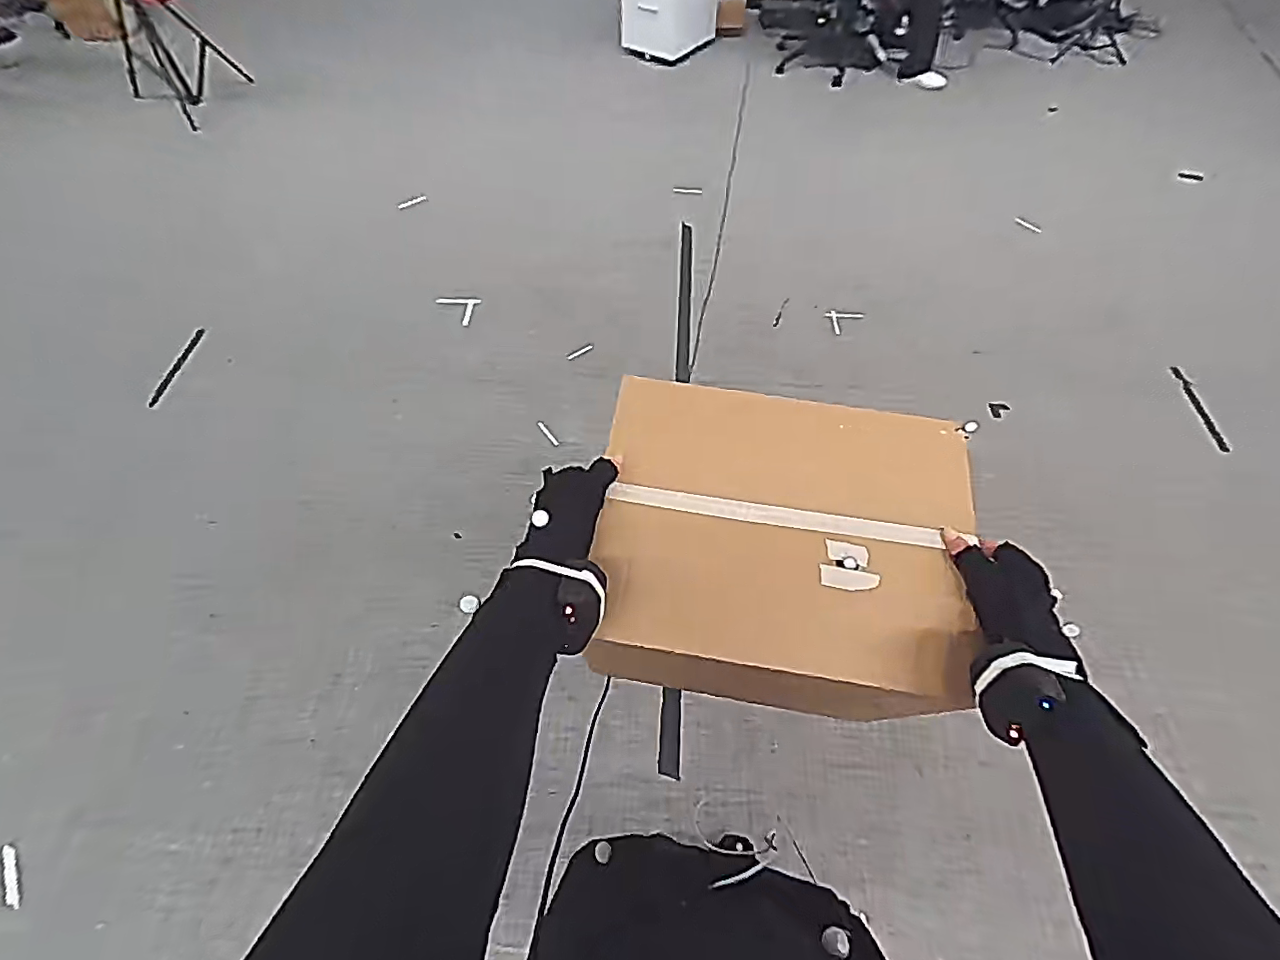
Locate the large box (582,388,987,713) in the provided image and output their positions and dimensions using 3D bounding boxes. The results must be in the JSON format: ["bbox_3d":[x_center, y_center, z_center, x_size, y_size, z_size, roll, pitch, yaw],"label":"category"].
[{"bbox_3d":[0.156,0.111,0.724,0.408,0.320,0.320,8,65,4],"label":"large box"}]
